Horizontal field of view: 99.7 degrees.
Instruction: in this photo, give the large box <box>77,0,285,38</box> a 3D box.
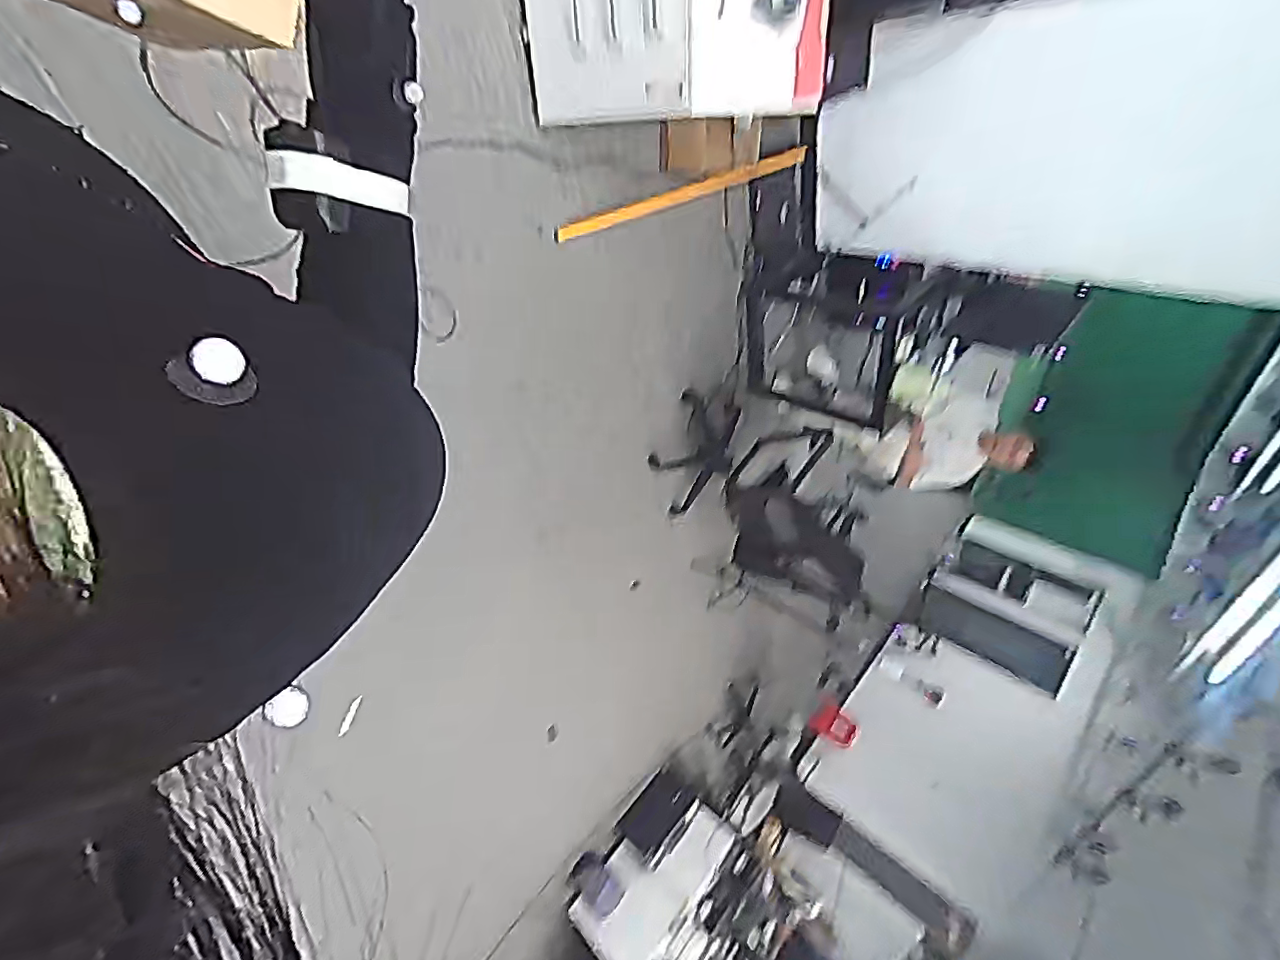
[{"bbox_3d":[-0.422,-0.469,0.234,0.408,0.320,0.320,-7,121,-50],"label":"large box"}]
